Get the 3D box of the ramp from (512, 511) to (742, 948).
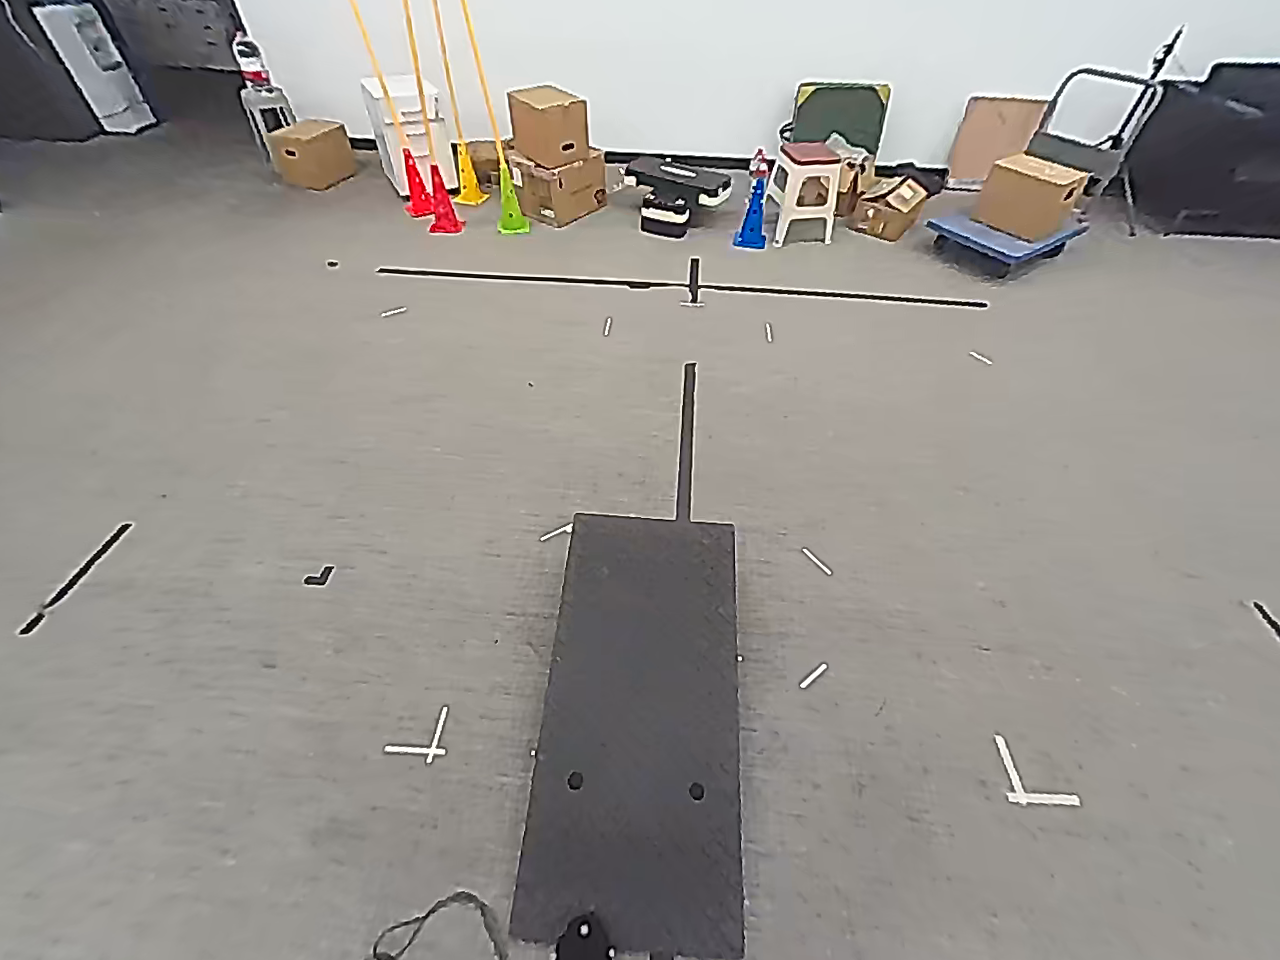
[{"bbox_3d":[0.009,0.535,1.388,0.509,0.206,0.991,4,48,0],"label":"ramp"}]
